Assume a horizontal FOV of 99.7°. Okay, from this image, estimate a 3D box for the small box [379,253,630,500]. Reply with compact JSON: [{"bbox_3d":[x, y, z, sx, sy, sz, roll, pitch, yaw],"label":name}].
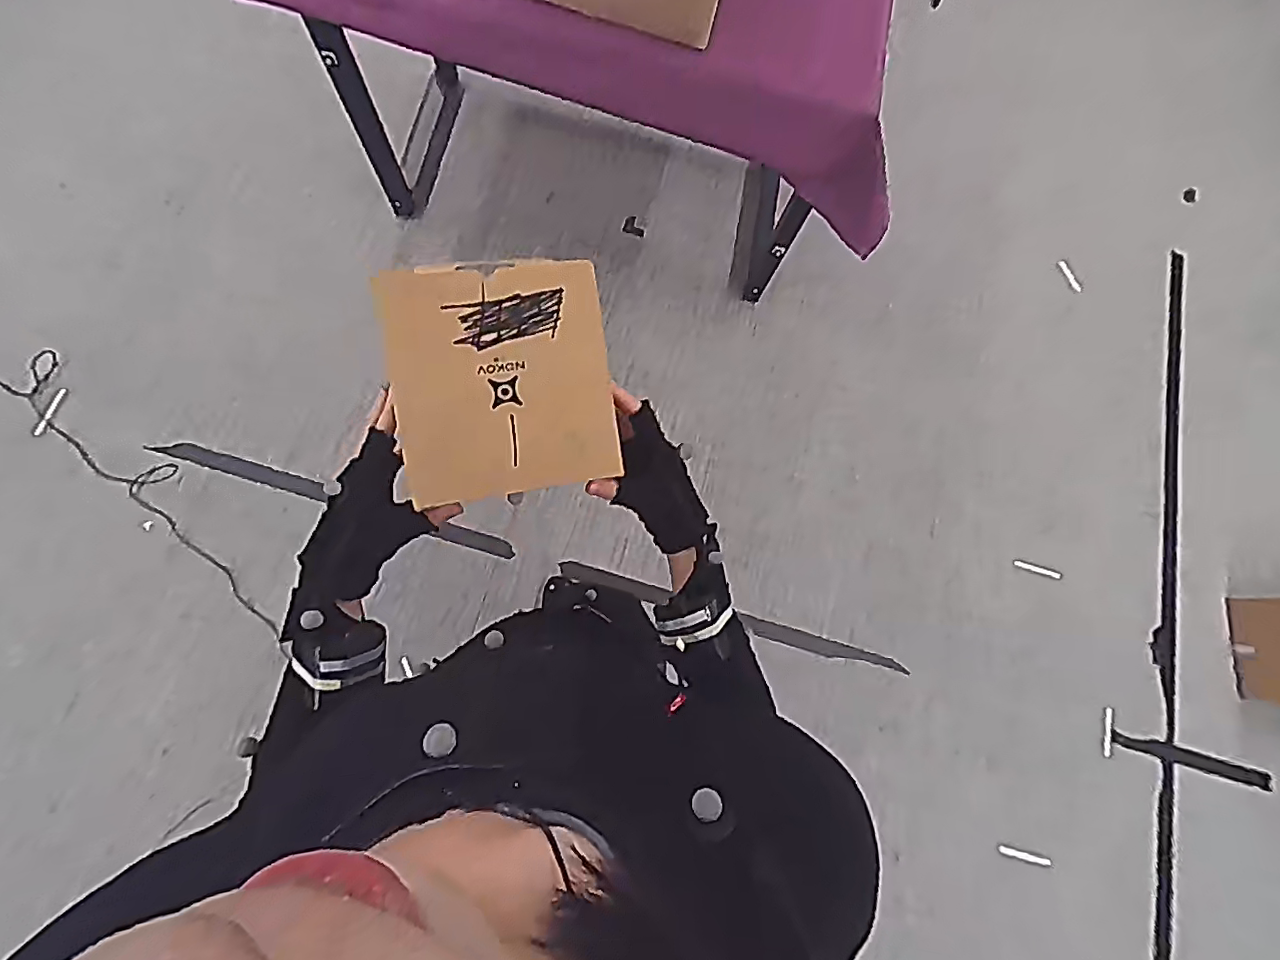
[{"bbox_3d":[-0.118,-0.081,0.487,0.168,0.176,0.179,-10,93,-13],"label":"small box"}]
